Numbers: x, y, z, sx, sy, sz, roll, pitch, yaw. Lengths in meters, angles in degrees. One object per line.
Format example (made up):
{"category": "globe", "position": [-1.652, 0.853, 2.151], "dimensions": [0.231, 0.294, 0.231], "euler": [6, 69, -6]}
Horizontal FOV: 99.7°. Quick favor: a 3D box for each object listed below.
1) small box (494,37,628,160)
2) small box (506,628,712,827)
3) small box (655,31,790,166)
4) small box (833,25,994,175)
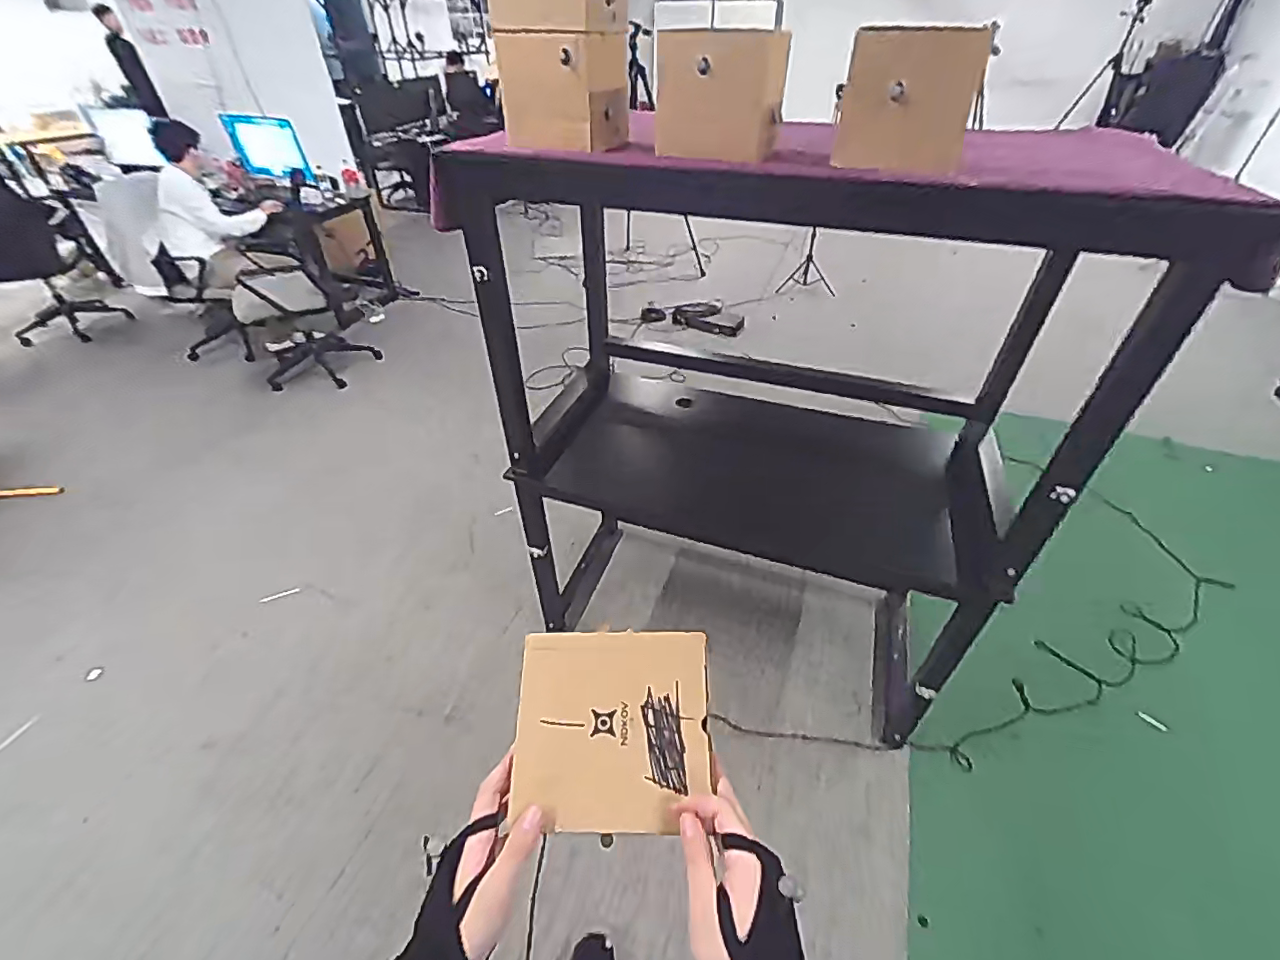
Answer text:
{"category": "small box", "position": [-0.132, -0.682, 0.968], "dimensions": [0.179, 0.176, 0.168], "euler": [14, 42, 17]}
{"category": "small box", "position": [-0.023, 0.254, 0.559], "dimensions": [0.179, 0.176, 0.168], "euler": [-2, 61, 3]}
{"category": "small box", "position": [0.134, -0.627, 0.892], "dimensions": [0.179, 0.176, 0.168], "euler": [14, 42, 18]}
{"category": "small box", "position": [0.399, -0.566, 0.810], "dimensions": [0.179, 0.176, 0.168], "euler": [14, 42, 19]}
